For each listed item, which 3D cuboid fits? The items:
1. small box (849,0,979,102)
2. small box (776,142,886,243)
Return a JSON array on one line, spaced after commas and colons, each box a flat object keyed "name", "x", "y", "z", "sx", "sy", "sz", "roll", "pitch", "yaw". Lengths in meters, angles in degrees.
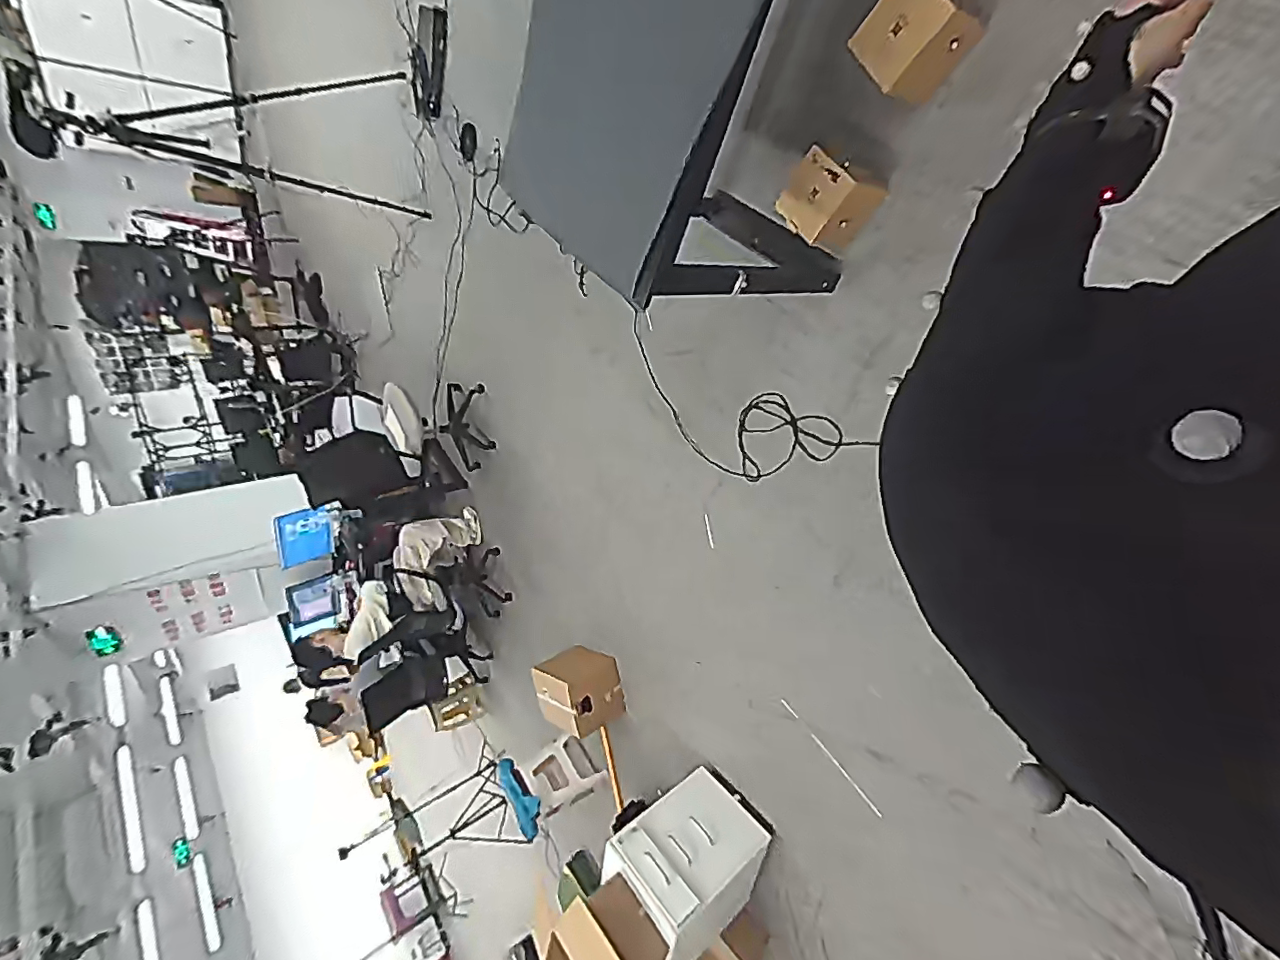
[{"name": "small box", "x": 0.613, "y": -0.987, "z": 1.199, "sx": 0.179, "sy": 0.176, "sz": 0.168, "roll": -44, "pitch": 68, "yaw": 50}, {"name": "small box", "x": 0.504, "y": -0.746, "z": 1.423, "sx": 0.168, "sy": 0.176, "sz": 0.179, "roll": 57, "pitch": 140, "yaw": 19}]
